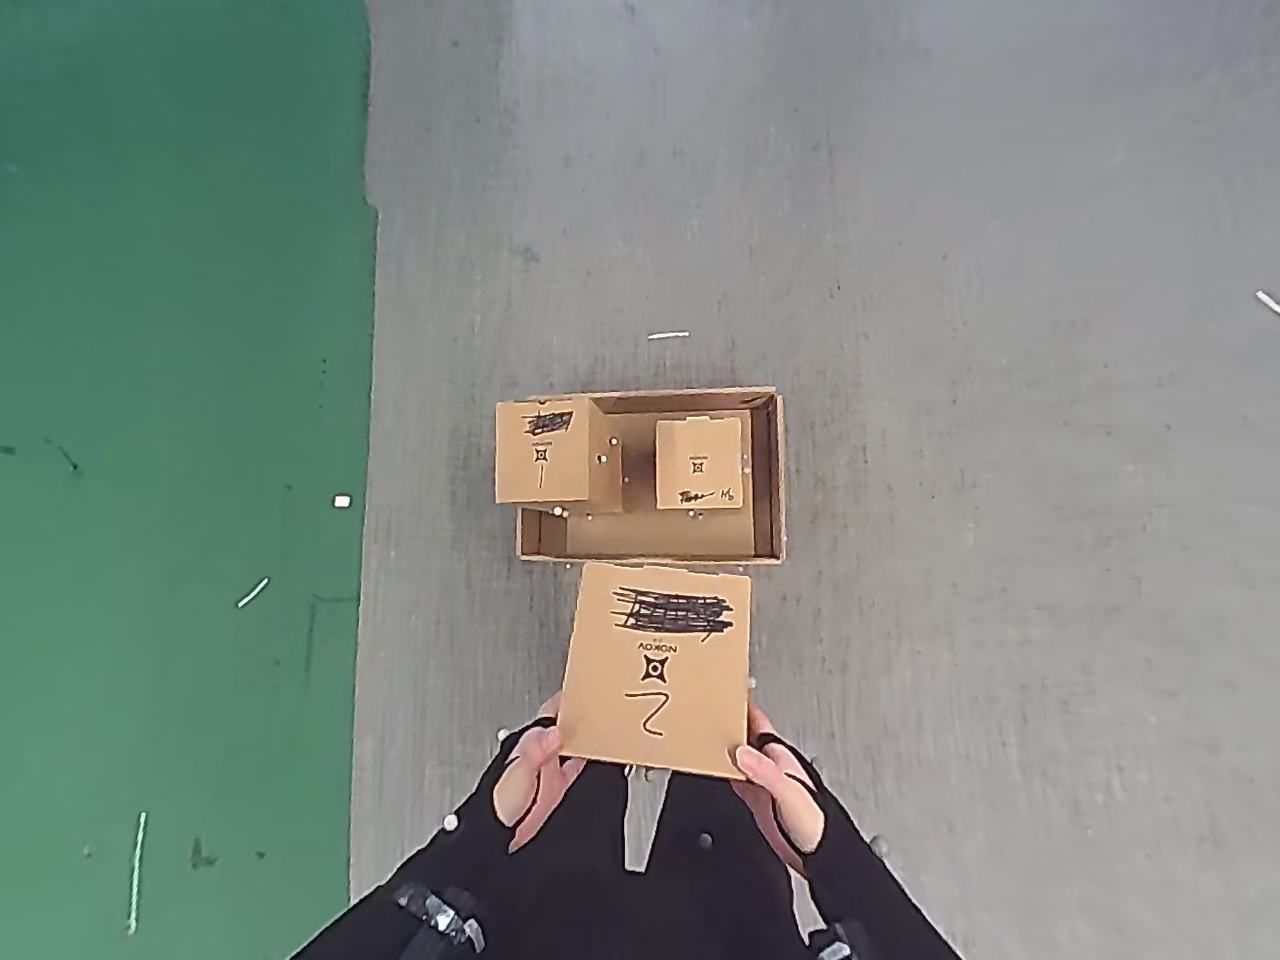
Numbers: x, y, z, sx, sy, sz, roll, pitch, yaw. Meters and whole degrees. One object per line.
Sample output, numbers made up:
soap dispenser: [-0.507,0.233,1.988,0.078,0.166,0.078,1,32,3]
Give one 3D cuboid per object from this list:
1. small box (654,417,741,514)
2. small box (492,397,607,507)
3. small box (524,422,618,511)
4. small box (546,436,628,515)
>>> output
small box: [0.122,-0.024,1.110,0.168,0.176,0.179,-1,83,10]
small box: [-0.157,-0.044,0.986,0.168,0.176,0.179,-1,84,8]
small box: [-0.139,-0.024,1.148,0.168,0.176,0.179,-1,83,7]
small box: [-0.122,-0.005,1.307,0.168,0.176,0.179,0,83,7]
